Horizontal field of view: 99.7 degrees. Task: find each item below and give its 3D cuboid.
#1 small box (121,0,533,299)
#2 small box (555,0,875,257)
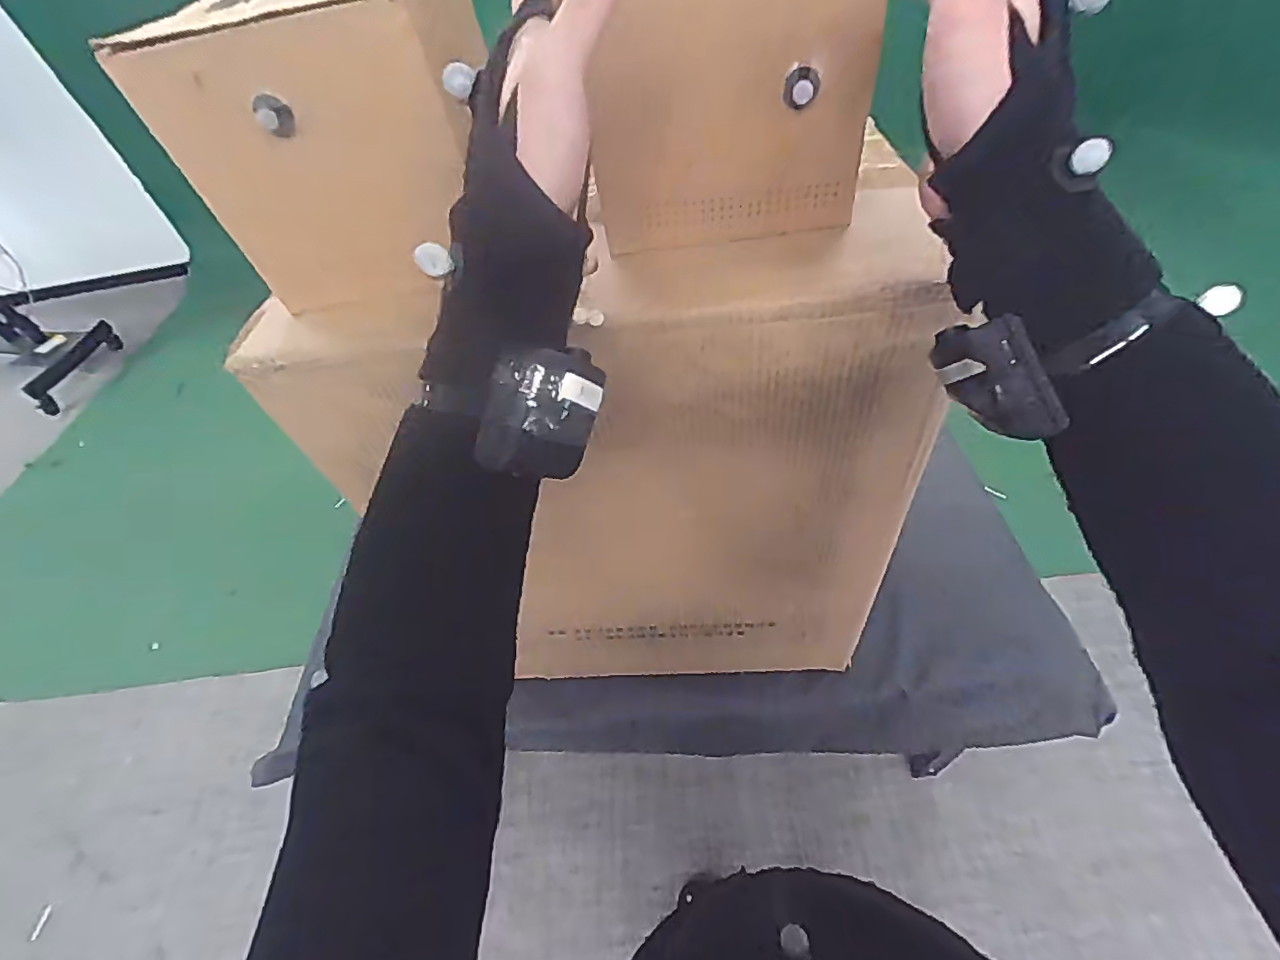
[{"bbox_3d":[-0.199,-0.257,0.406,0.179,0.176,0.168,-6,54,8],"label":"small box"},{"bbox_3d":[0.051,-0.285,0.387,0.179,0.176,0.168,-5,51,7],"label":"small box"}]
